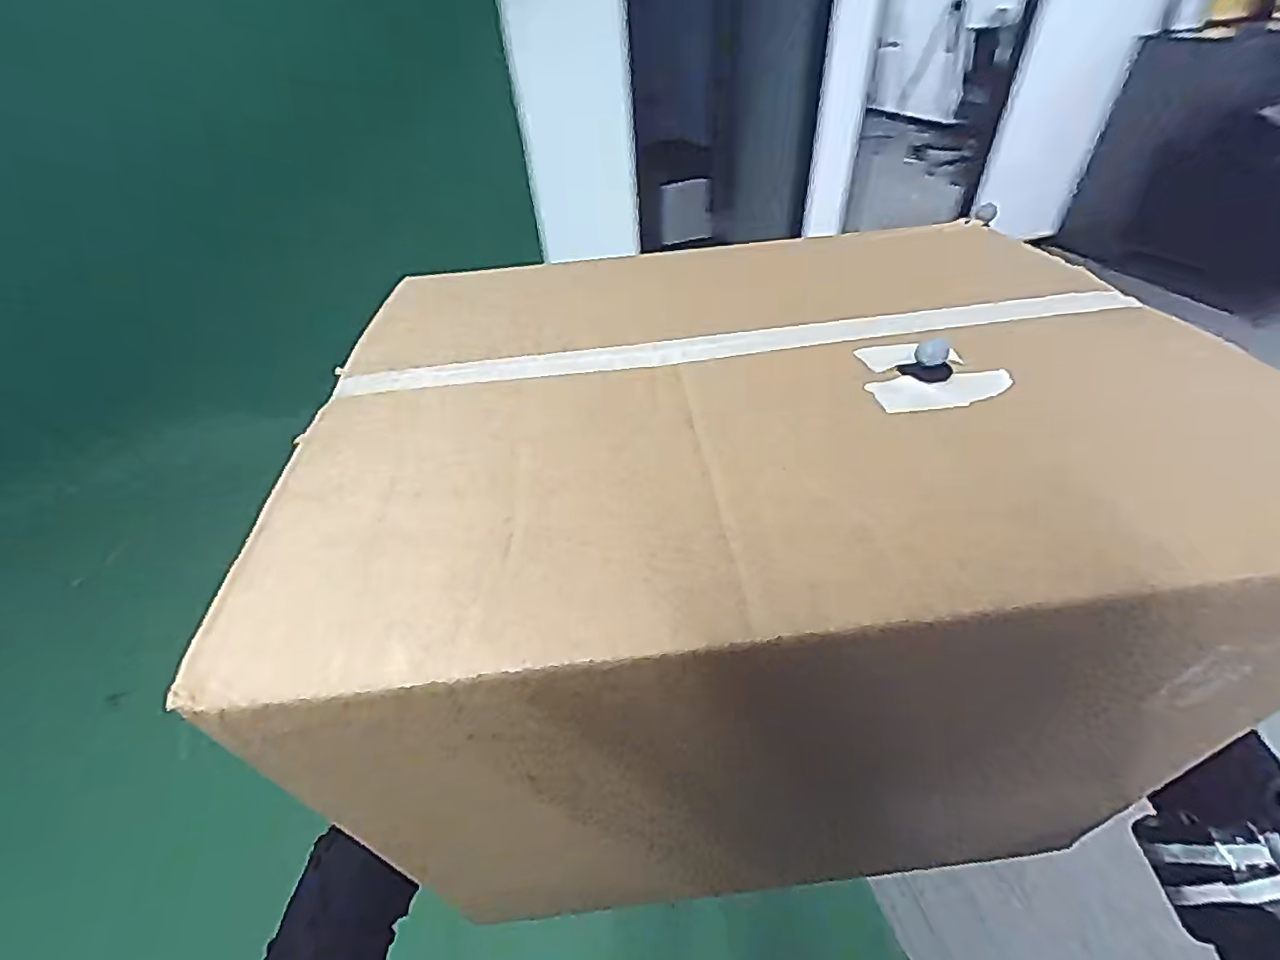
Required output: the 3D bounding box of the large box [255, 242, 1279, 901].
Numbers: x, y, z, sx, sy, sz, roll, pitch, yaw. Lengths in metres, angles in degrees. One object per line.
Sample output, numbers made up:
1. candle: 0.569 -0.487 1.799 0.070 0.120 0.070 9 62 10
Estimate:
1. large box: 0.070 0.053 0.381 0.408 0.320 0.320 -5 42 -1
